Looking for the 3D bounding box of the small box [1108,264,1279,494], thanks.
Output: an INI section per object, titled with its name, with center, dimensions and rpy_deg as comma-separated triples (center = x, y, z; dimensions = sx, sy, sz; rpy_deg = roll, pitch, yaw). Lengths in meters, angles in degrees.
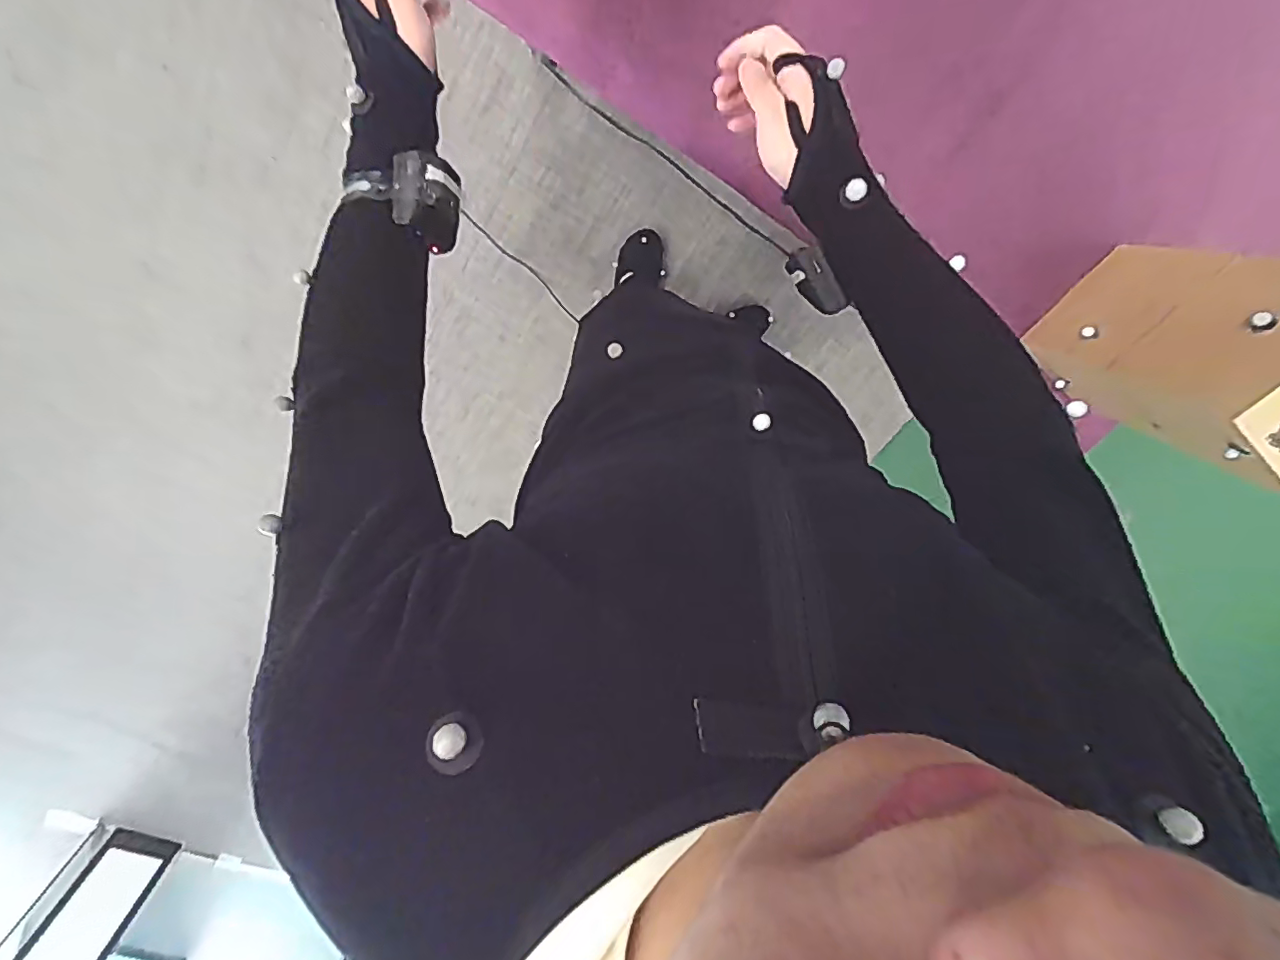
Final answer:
[small box]
center = 0.694, -0.115, 0.598
dimensions = 0.168, 0.176, 0.179
rpy_deg = 34, 111, -17
